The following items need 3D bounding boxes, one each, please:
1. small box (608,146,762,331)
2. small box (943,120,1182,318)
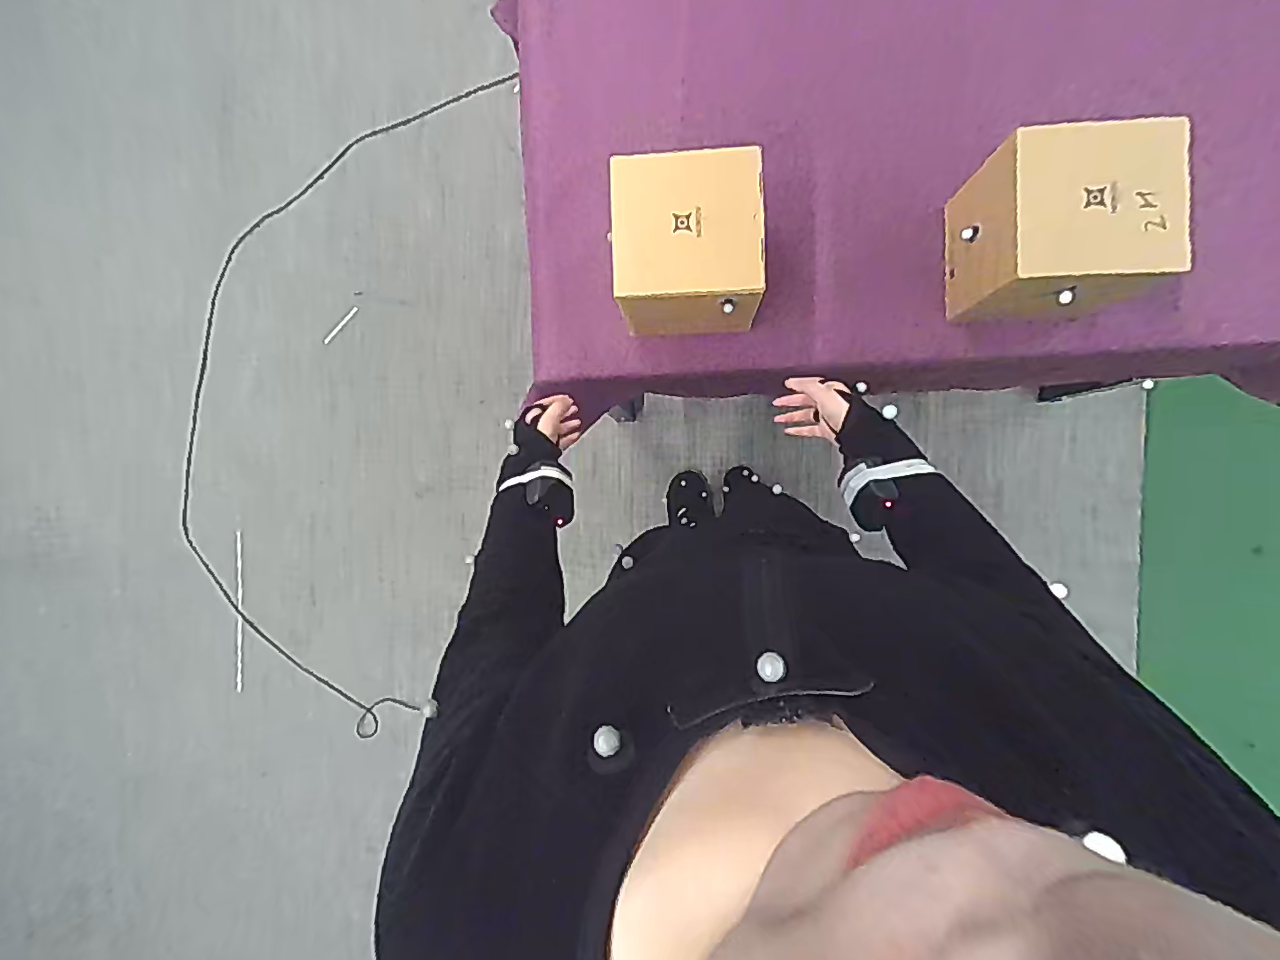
[{"bbox_3d":[0.058,-0.297,0.701,0.179,0.176,0.168,-2,90,4],"label":"small box"},{"bbox_3d":[0.496,-0.303,0.662,0.179,0.176,0.168,0,91,5],"label":"small box"}]
